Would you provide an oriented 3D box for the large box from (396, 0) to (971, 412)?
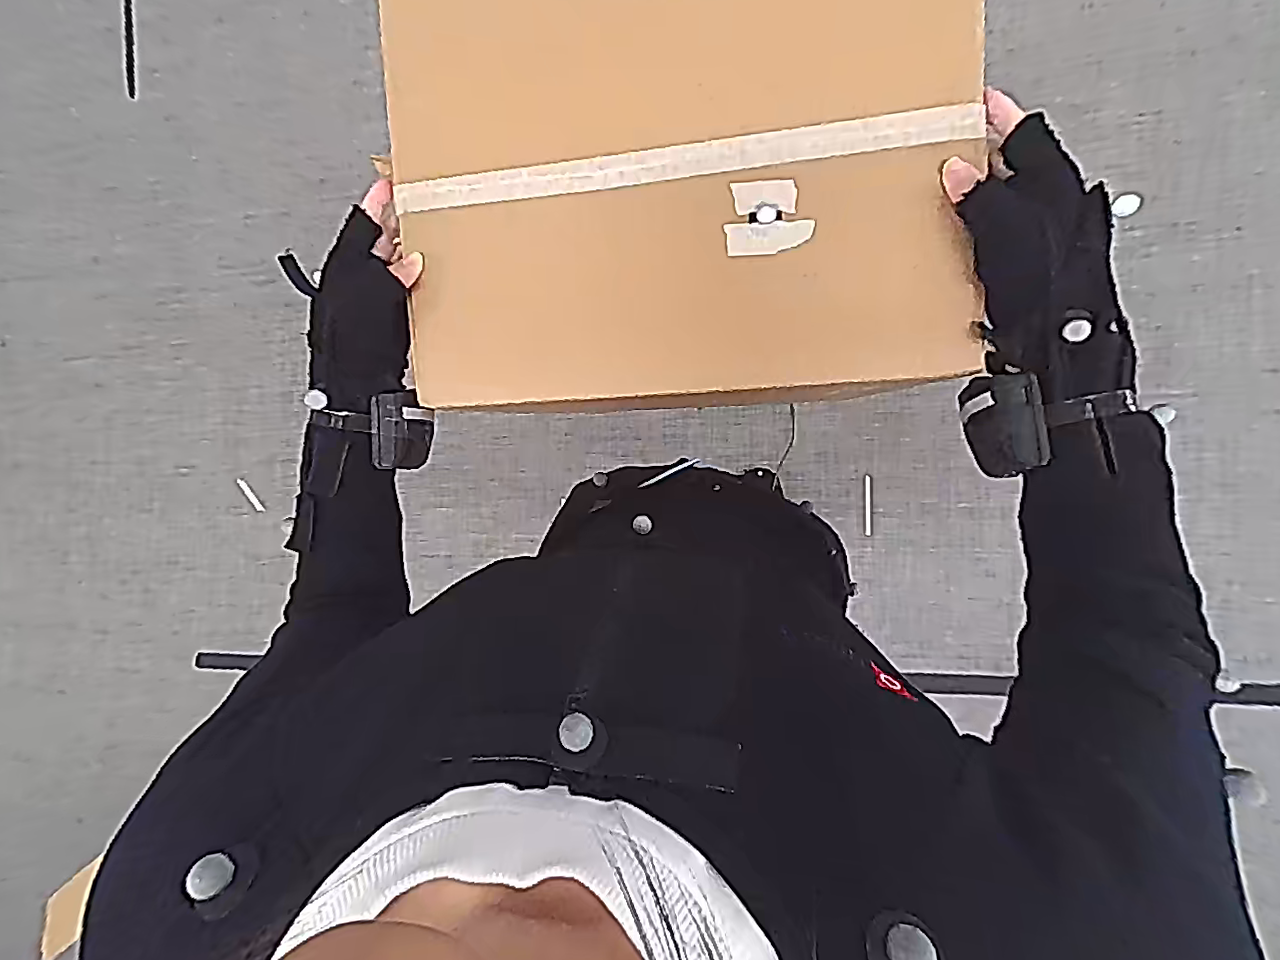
[{"bbox_3d":[0.042,-0.239,0.535,0.408,0.320,0.320,-3,96,8],"label":"large box"}]
